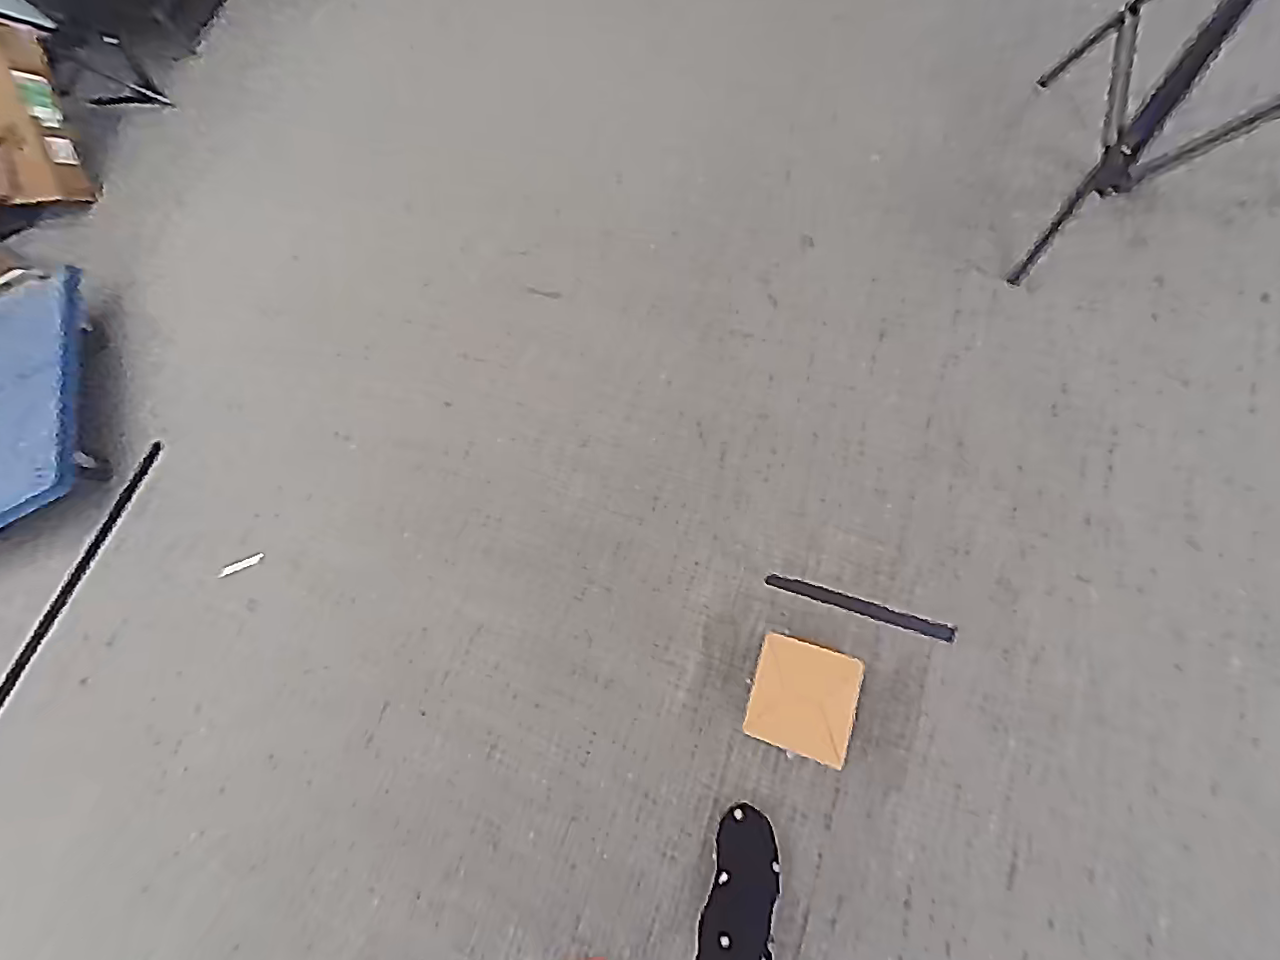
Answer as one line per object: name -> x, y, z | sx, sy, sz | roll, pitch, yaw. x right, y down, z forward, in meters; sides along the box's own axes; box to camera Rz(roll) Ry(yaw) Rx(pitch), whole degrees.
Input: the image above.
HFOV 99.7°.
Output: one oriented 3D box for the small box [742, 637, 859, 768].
small box -> 0.287, 0.394, 0.983 | 0.168, 0.176, 0.179 | 15, 75, 17
